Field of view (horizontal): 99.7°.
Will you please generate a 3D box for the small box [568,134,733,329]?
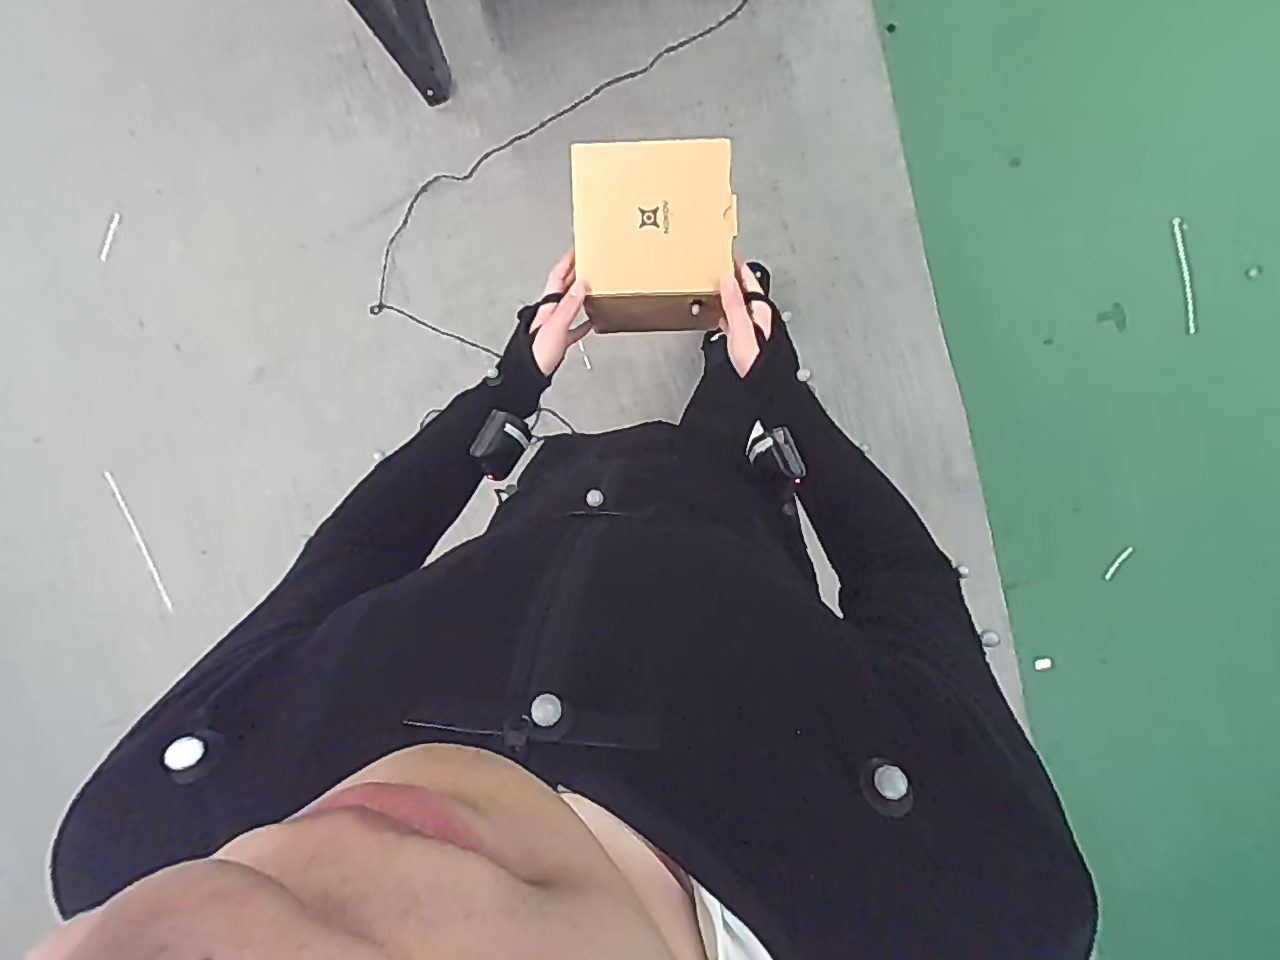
[{"bbox_3d":[0.014,-0.287,0.661,0.179,0.176,0.168,-2,91,0],"label":"small box"}]
